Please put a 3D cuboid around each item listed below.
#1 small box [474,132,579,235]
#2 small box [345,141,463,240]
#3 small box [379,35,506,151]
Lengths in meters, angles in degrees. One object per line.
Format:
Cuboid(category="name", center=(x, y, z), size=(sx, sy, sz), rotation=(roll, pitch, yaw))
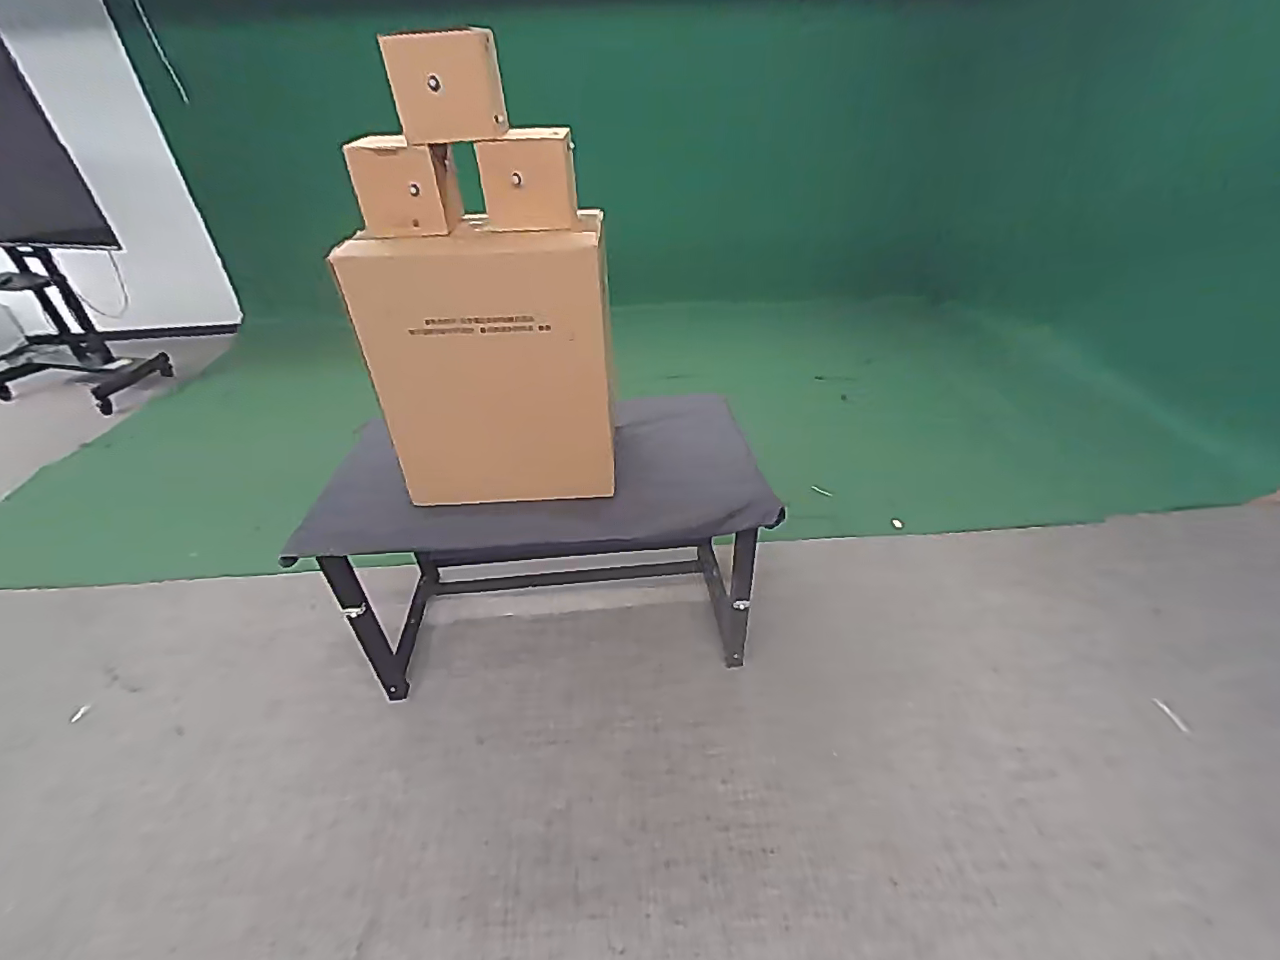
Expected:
Cuboid(category="small box", center=(-0.234, -0.634, 1.160), size=(0.179, 0.176, 0.168), rotation=(-3, 39, 1))
Cuboid(category="small box", center=(-0.490, -0.619, 1.157), size=(0.168, 0.176, 0.179), rotation=(-2, 37, -2))
Cuboid(category="small box", center=(-0.370, -0.756, 1.057), size=(0.179, 0.176, 0.168), rotation=(-5, 38, 0))
